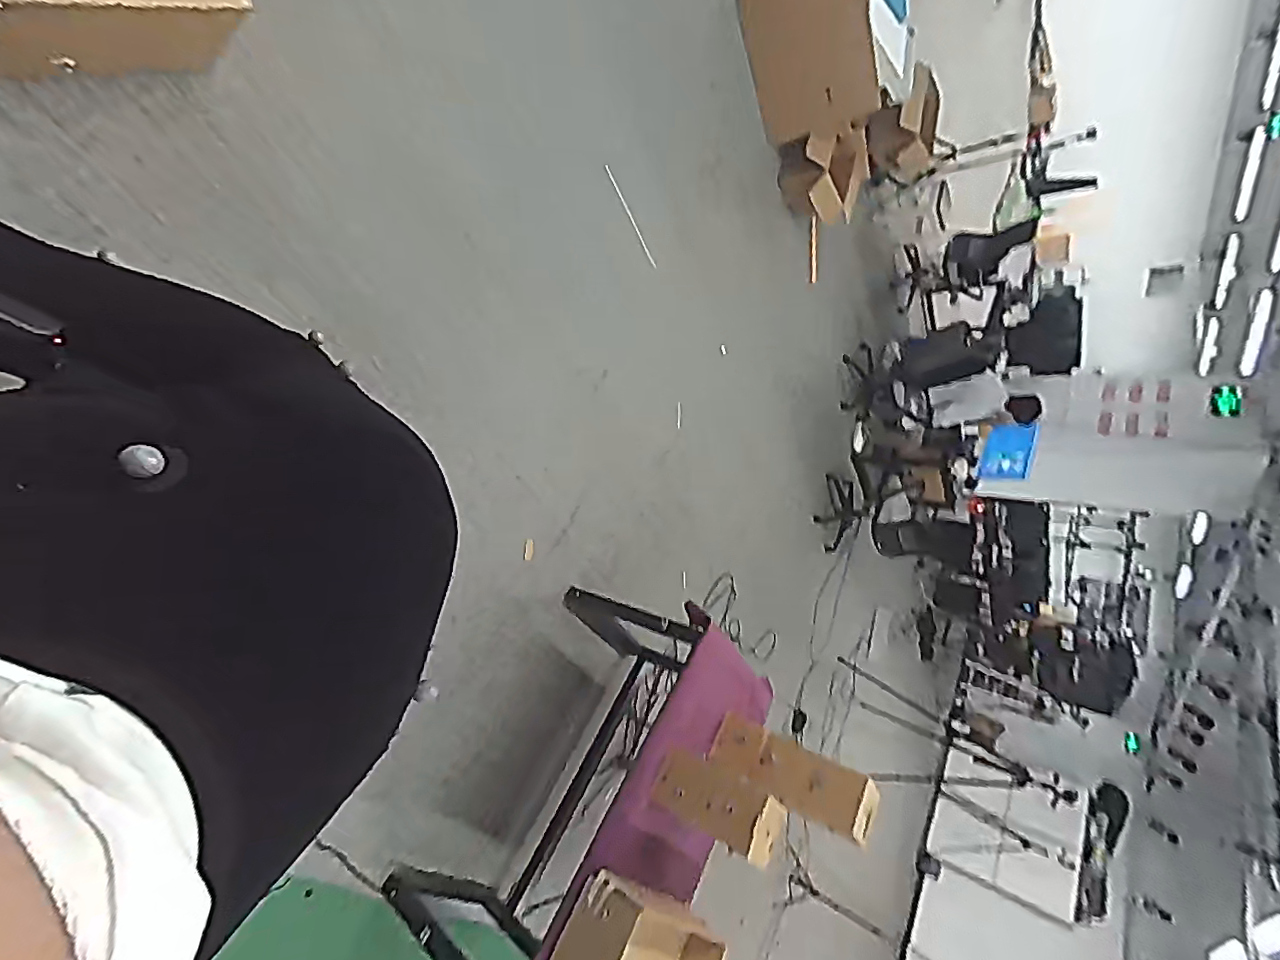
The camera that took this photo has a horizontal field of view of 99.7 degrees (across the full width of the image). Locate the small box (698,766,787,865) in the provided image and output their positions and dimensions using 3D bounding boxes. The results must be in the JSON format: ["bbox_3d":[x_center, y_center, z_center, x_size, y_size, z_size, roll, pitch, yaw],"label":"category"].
[{"bbox_3d":[0.289,0.944,1.534,0.168,0.176,0.179,-57,133,-25],"label":"small box"}]

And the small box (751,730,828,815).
[{"bbox_3d":[0.488,0.949,1.765,0.168,0.176,0.179,-56,132,-28],"label":"small box"}]

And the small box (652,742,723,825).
[{"bbox_3d":[0.164,0.925,1.637,0.168,0.176,0.179,-57,135,-26],"label":"small box"}]

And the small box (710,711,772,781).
[{"bbox_3d":[0.366,0.927,1.874,0.168,0.176,0.179,-59,135,-25],"label":"small box"}]
